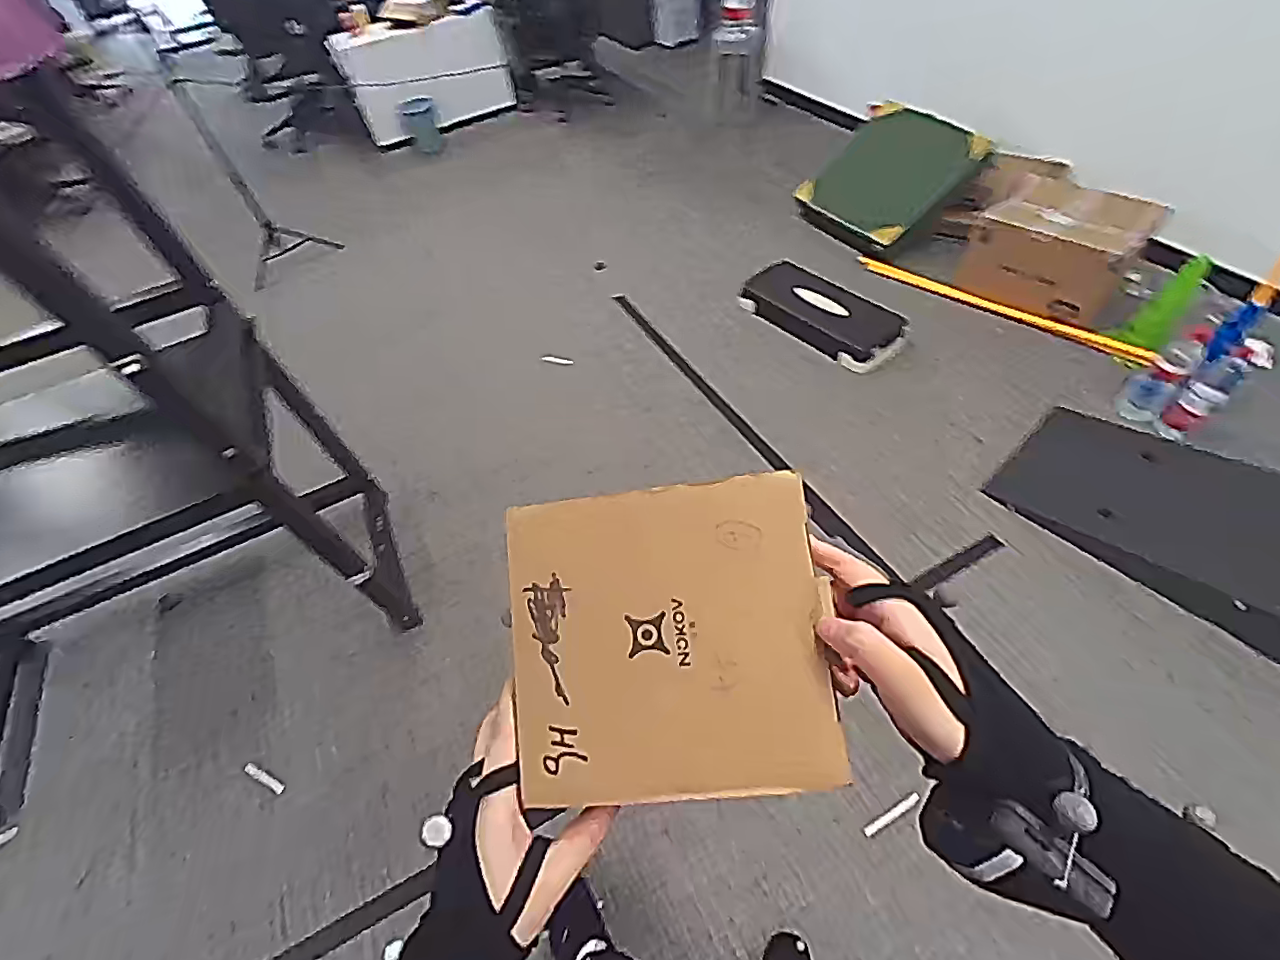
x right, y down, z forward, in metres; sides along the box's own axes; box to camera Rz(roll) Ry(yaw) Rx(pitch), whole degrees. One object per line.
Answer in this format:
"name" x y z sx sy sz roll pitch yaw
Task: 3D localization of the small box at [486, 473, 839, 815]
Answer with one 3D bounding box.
"small box" 0.014 0.099 0.365 0.179 0.176 0.168 -8 77 6
